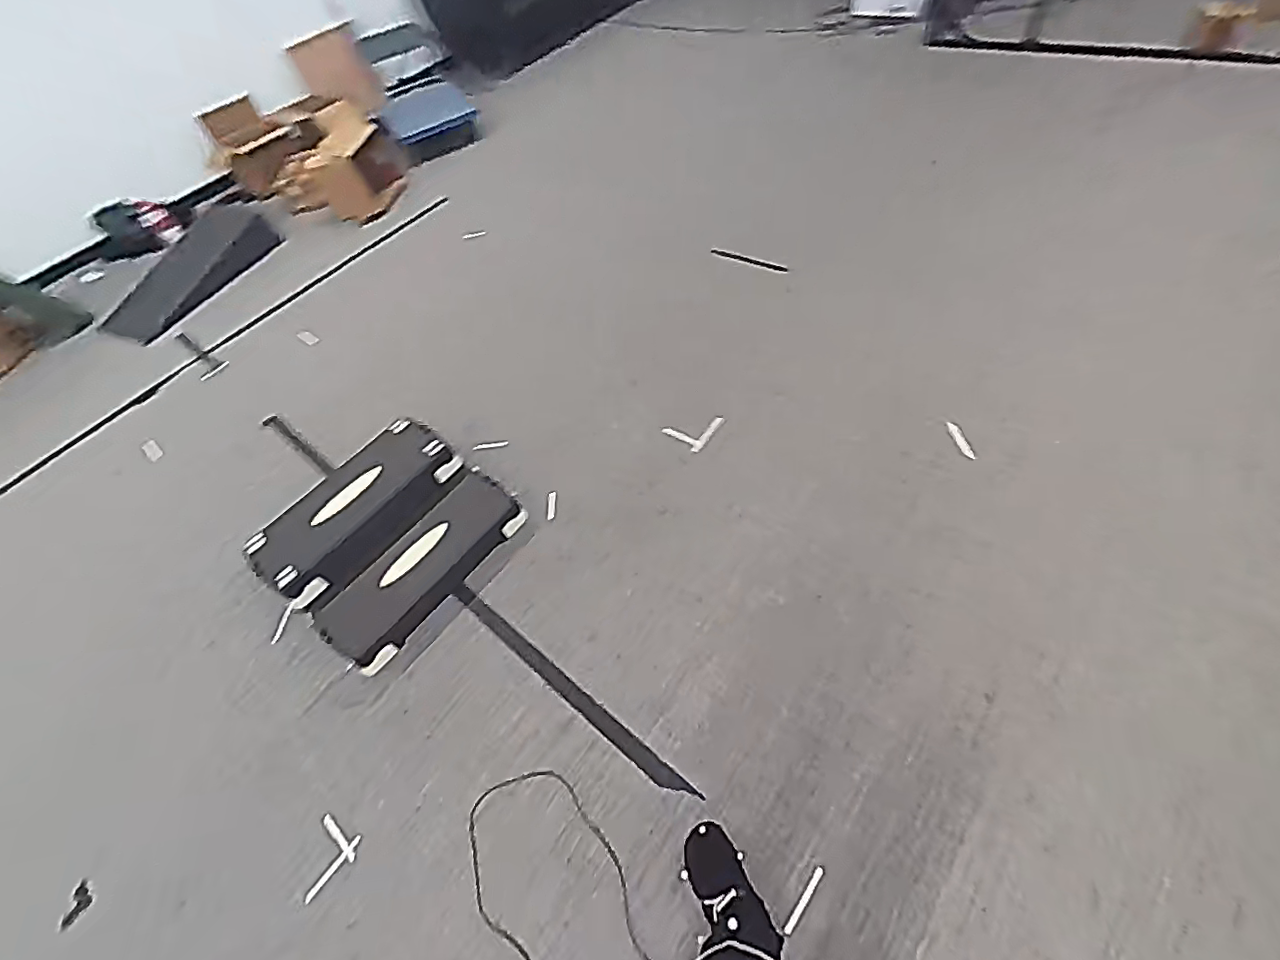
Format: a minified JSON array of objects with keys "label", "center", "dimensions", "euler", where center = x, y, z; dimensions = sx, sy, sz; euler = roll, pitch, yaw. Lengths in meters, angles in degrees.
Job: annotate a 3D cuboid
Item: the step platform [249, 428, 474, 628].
[{"label":"step platform","center":[-0.897,0.135,1.780],"dimensions":[0.286,0.204,0.684],"euler":[29,63,28]}]
